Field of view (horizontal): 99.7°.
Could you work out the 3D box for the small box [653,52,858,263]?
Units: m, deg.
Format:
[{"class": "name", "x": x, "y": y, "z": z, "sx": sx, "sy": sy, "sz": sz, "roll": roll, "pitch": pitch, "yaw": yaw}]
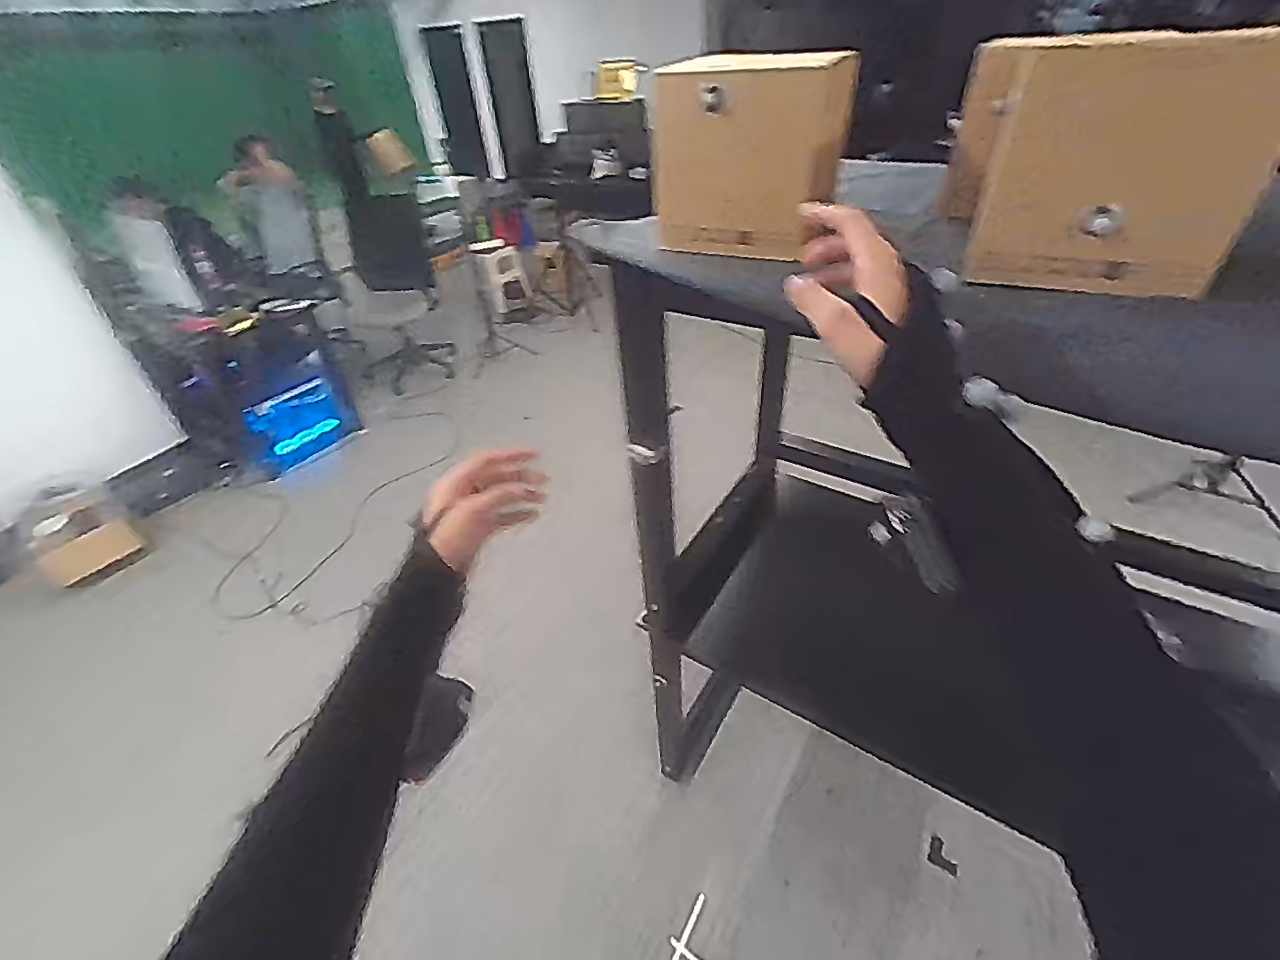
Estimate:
[{"class": "small box", "x": 0.123, "y": -0.354, "z": 0.589, "sx": 0.168, "sy": 0.176, "sz": 0.179, "roll": 15, "pitch": 43, "yaw": 22}]
